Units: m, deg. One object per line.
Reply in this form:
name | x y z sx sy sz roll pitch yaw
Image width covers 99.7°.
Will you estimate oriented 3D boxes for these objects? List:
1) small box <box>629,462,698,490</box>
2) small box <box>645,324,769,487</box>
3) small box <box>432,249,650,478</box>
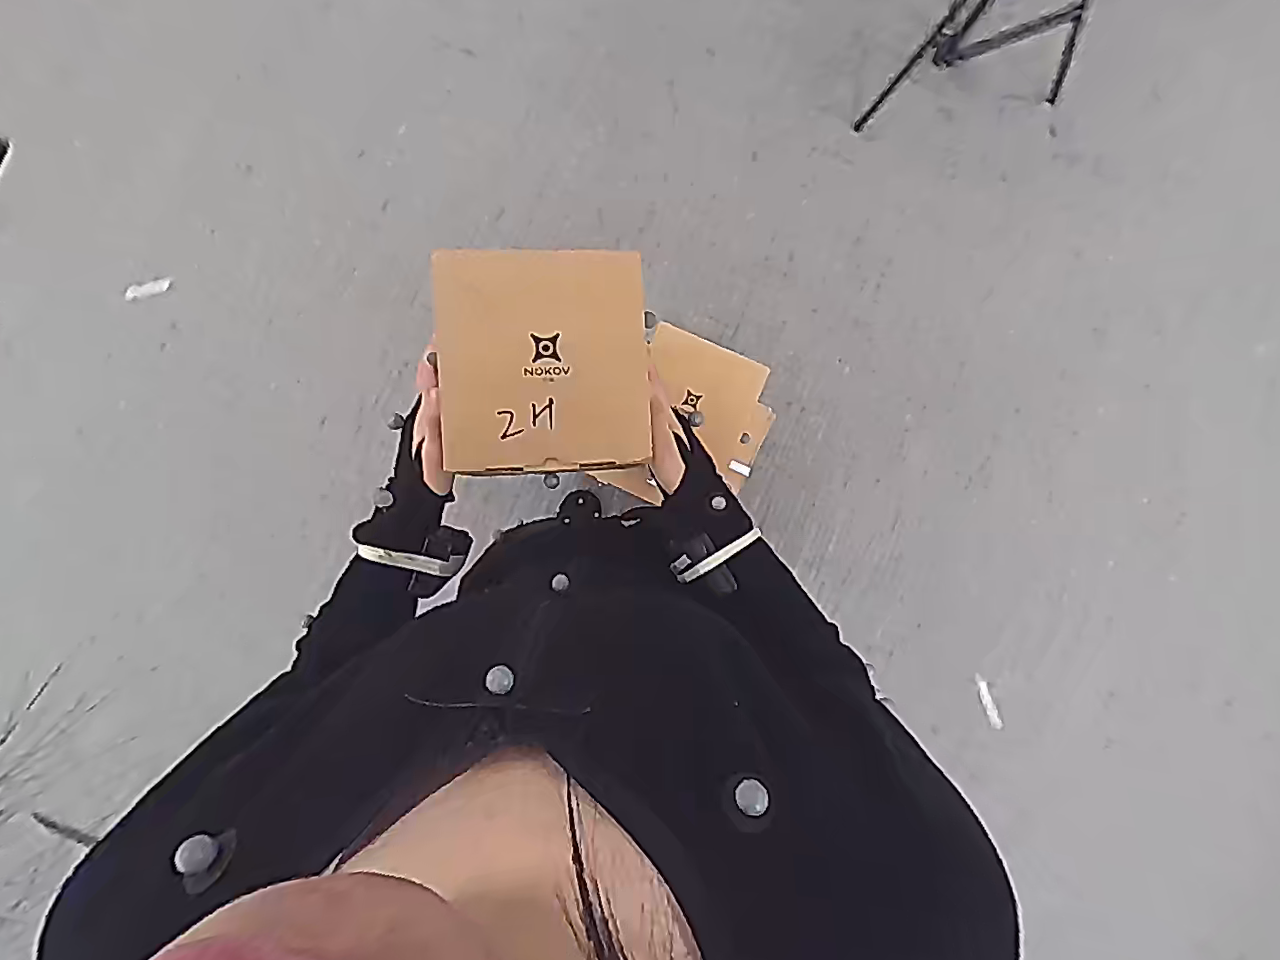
small box | 0.058 -0.085 1.133 0.179 0.176 0.168 23 90 -2
small box | 0.066 -0.101 0.806 0.168 0.176 0.179 23 90 -2
small box | -0.090 -0.095 0.508 0.168 0.176 0.179 -4 90 -9
